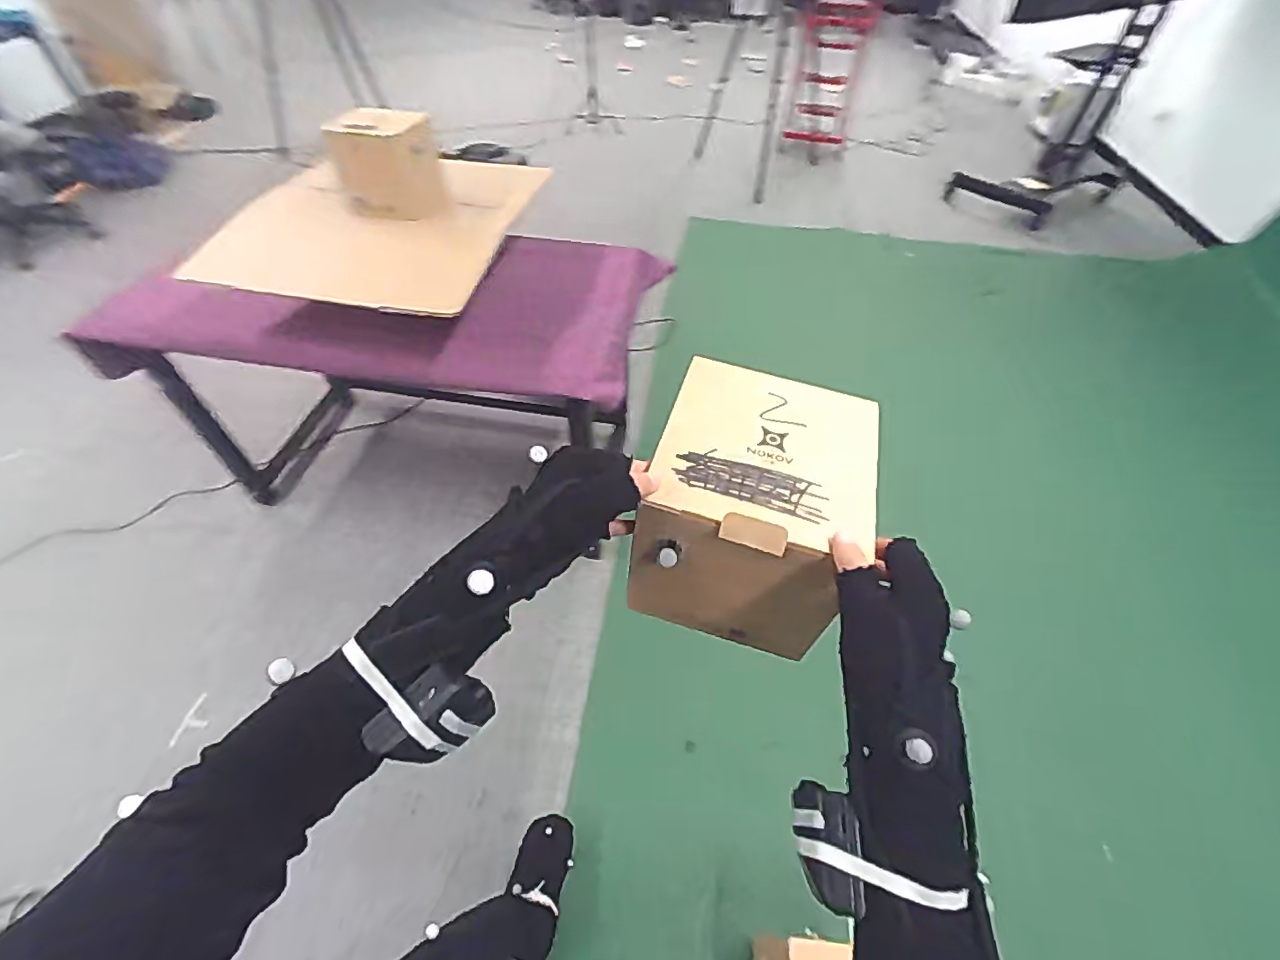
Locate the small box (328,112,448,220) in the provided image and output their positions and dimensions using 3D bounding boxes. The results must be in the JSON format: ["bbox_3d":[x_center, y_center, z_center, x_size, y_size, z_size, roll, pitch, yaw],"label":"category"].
[{"bbox_3d":[-0.556,-0.710,1.225,0.168,0.176,0.179,9,47,6],"label":"small box"}]

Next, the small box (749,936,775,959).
[{"bbox_3d":[0.307,0.972,1.012,0.179,0.176,0.168,7,50,3],"label":"small box"}]

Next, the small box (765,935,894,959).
[{"bbox_3d":[0.313,0.866,0.889,0.179,0.176,0.168,5,50,3],"label":"small box"}]
